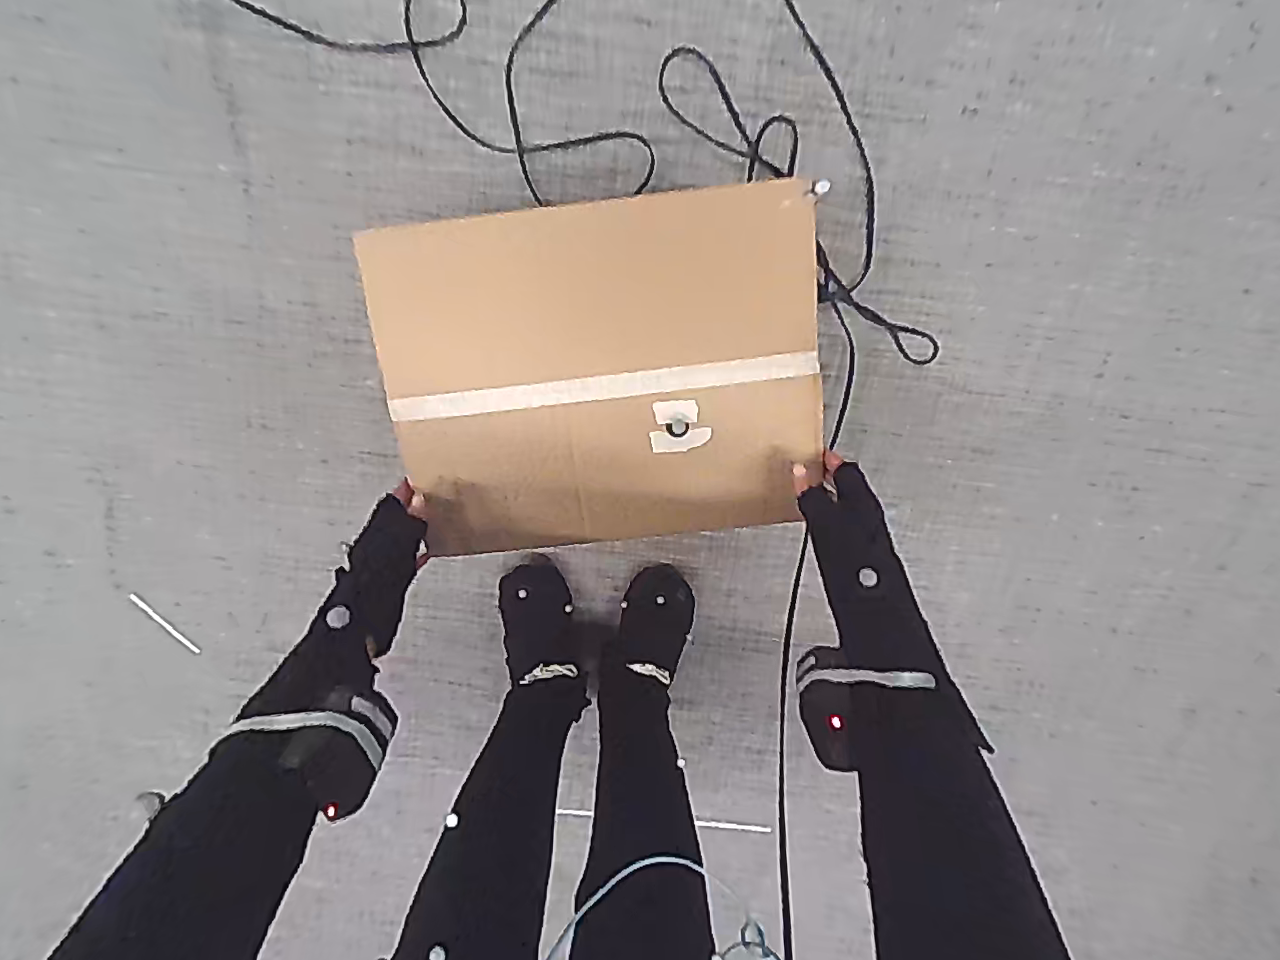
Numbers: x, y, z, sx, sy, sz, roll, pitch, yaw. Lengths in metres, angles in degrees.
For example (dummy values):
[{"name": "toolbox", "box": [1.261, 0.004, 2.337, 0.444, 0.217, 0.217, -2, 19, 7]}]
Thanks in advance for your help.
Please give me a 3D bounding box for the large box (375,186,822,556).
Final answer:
[{"name": "large box", "box": [-0.030, -0.127, 0.664, 0.408, 0.320, 0.320, -6, 105, 1]}]
